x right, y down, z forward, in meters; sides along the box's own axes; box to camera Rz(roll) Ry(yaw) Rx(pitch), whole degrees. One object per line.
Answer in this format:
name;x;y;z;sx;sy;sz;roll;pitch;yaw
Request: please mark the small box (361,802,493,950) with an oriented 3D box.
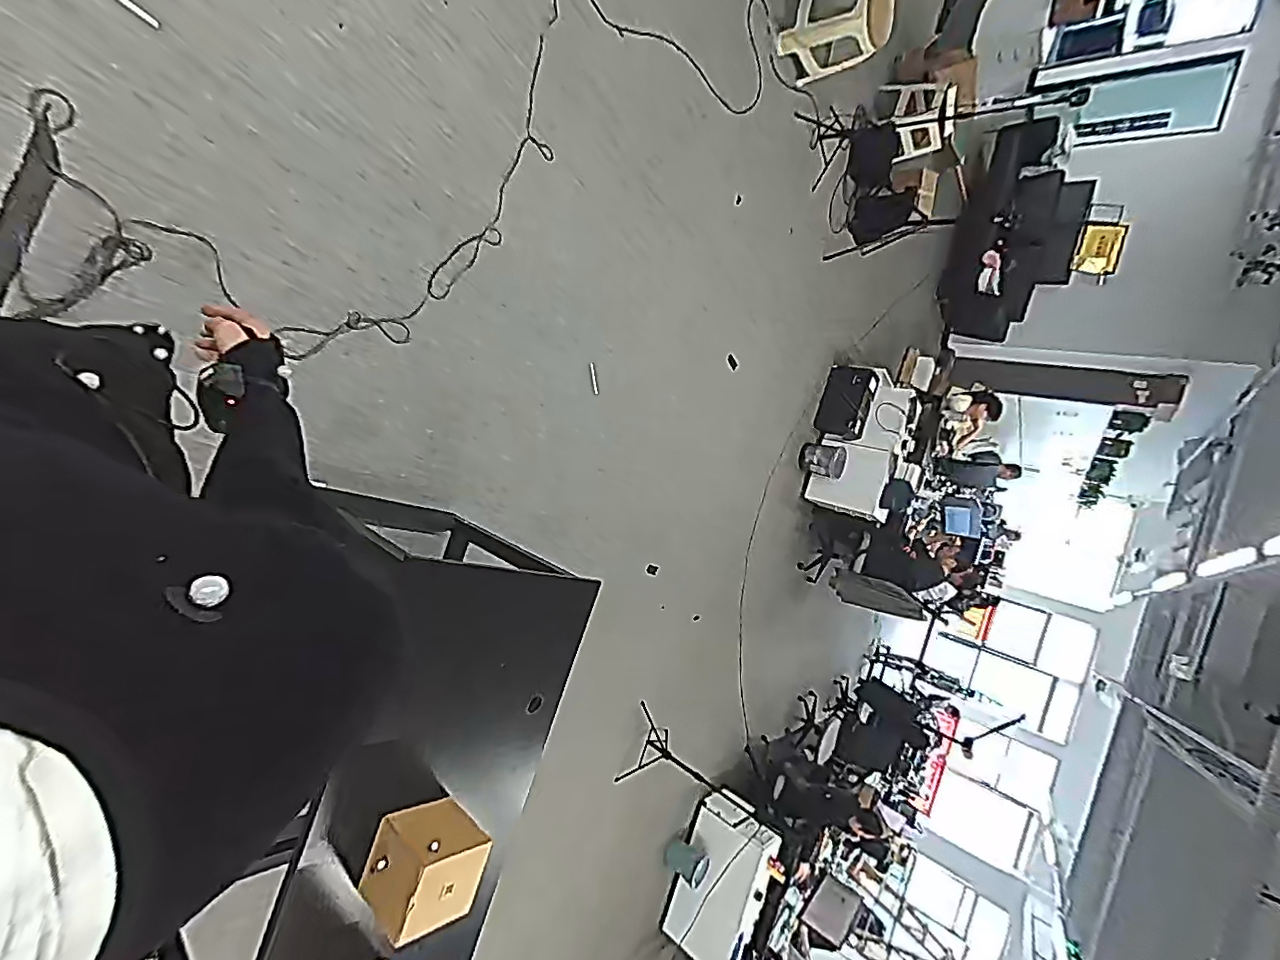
small box;-0.456;0.829;1.158;0.179;0.176;0.168;21;87;-53
